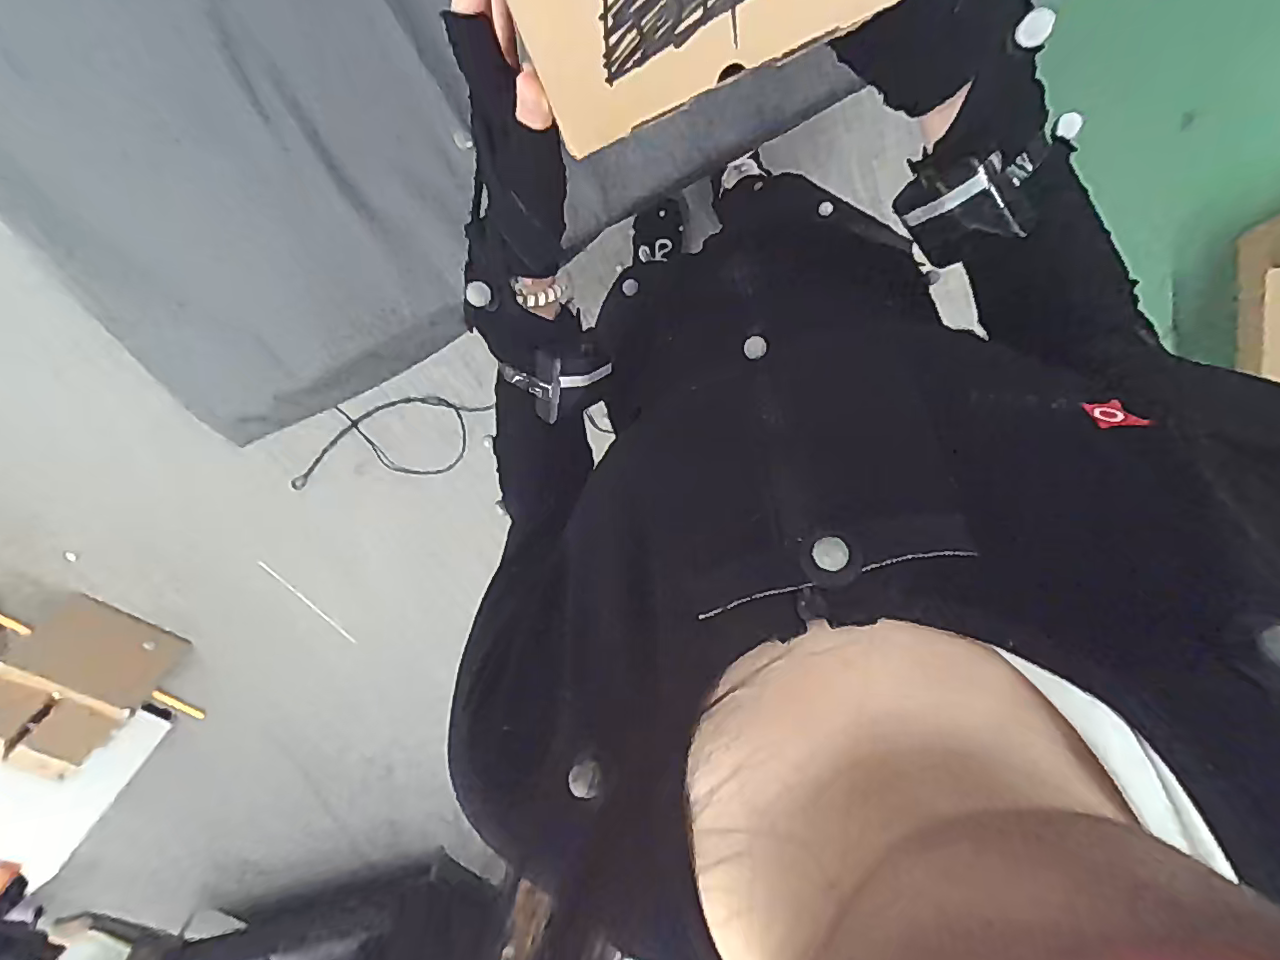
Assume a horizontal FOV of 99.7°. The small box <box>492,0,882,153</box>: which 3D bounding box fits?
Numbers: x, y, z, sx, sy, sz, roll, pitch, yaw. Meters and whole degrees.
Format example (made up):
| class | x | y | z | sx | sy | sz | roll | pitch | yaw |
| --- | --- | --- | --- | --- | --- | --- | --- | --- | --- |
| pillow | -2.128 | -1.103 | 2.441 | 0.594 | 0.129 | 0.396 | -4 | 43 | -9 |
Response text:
| class | x | y | z | sx | sy | sz | roll | pitch | yaw |
| --- | --- | --- | --- | --- | --- | --- | --- | --- | --- |
| small box | -0.007 | -0.293 | 0.241 | 0.168 | 0.176 | 0.179 | -22 | 137 | 7 |
